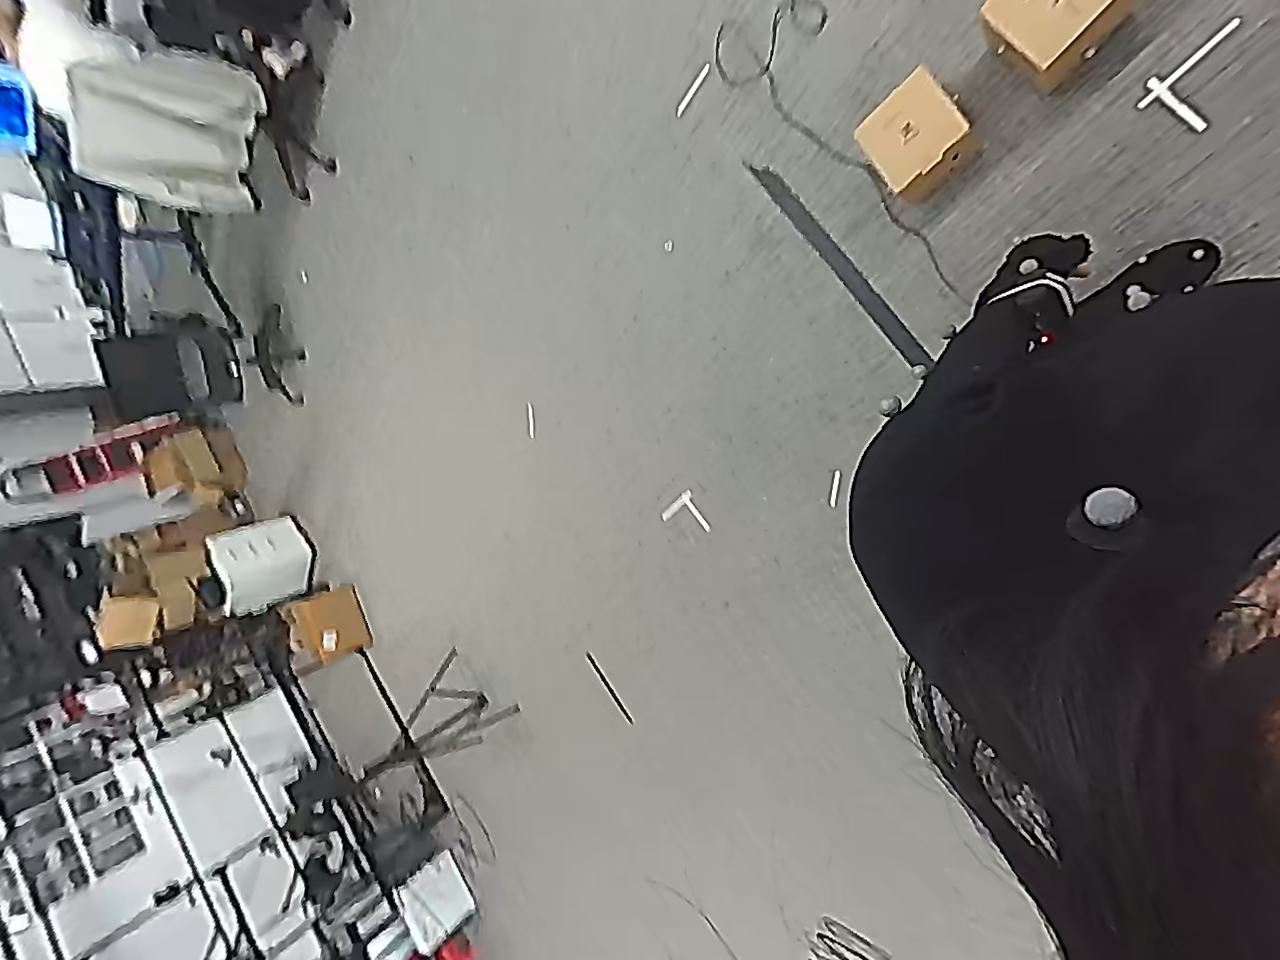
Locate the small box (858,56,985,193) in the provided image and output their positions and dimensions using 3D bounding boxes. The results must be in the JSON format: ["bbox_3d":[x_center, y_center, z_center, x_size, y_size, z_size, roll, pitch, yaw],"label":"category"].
[{"bbox_3d":[0.613,-0.753,1.169,0.168,0.176,0.179,-38,79,40],"label":"small box"}]

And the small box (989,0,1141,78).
[{"bbox_3d":[0.777,-0.882,0.986,0.179,0.176,0.168,54,130,12],"label":"small box"}]
